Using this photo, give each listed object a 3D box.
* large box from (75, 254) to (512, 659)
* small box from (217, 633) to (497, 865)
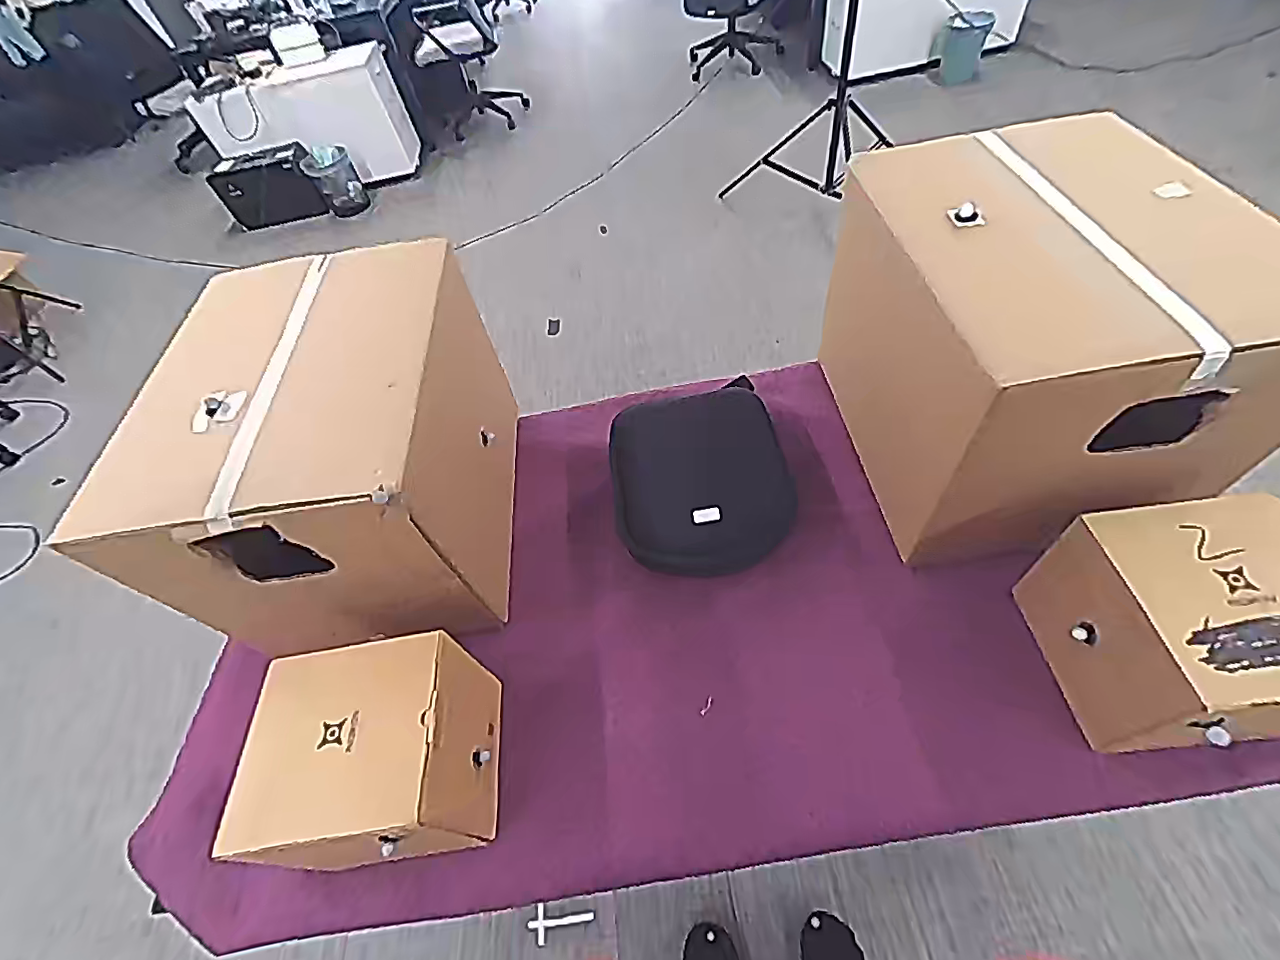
[{"bbox_3d":[-0.361,-0.026,0.708,0.320,0.320,0.408,-10,55,2],"label":"large box"},{"bbox_3d":[-0.263,0.280,0.553,0.179,0.176,0.168,-11,51,1],"label":"small box"}]
